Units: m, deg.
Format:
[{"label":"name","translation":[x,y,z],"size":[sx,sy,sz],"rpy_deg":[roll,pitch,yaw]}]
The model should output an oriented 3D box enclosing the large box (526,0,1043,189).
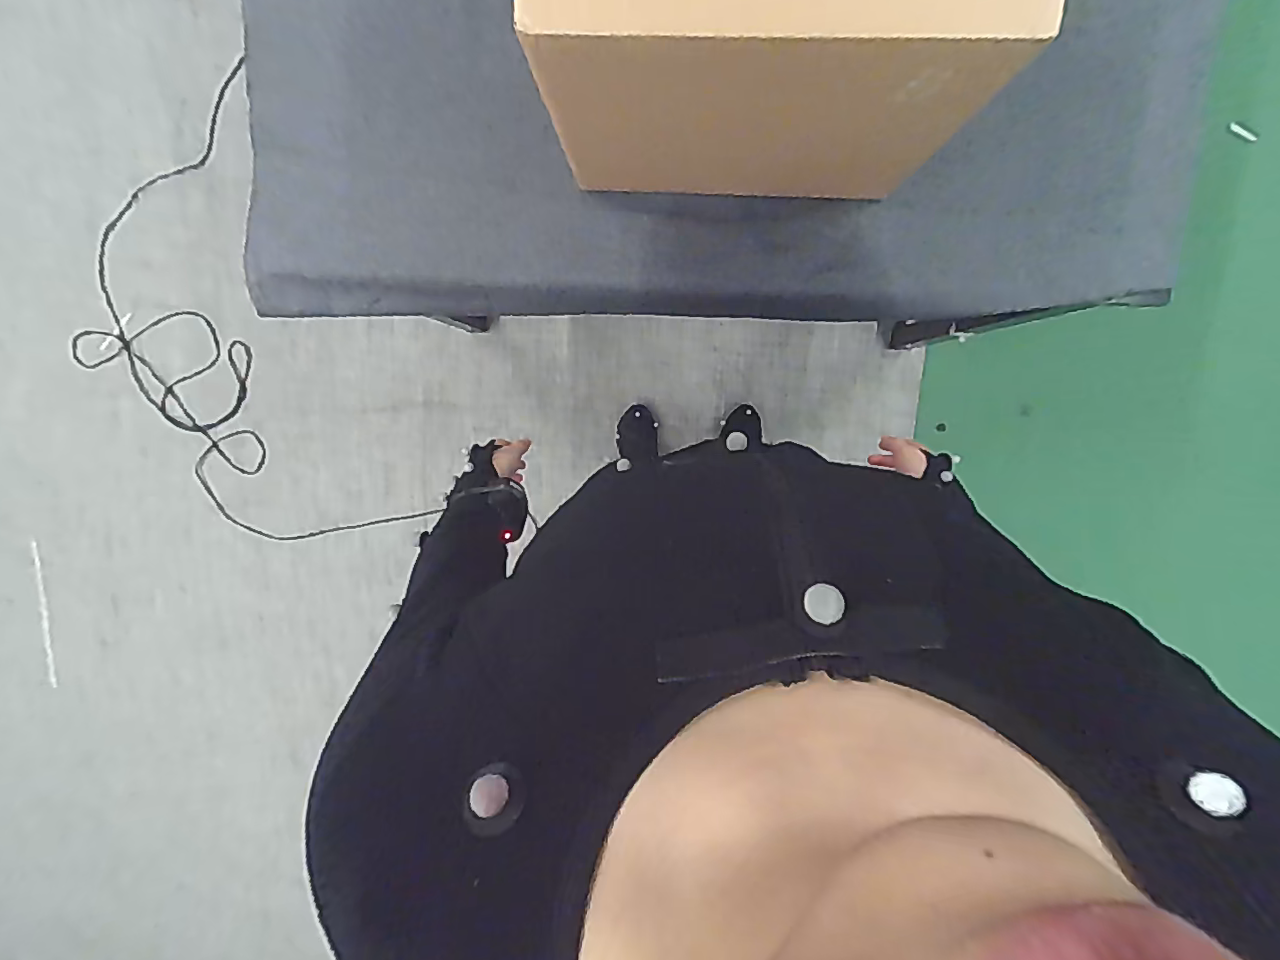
[{"label":"large box","translation":[0.113,-0.514,0.545],"size":[0.408,0.320,0.320],"rpy_deg":[2,99,2]}]
